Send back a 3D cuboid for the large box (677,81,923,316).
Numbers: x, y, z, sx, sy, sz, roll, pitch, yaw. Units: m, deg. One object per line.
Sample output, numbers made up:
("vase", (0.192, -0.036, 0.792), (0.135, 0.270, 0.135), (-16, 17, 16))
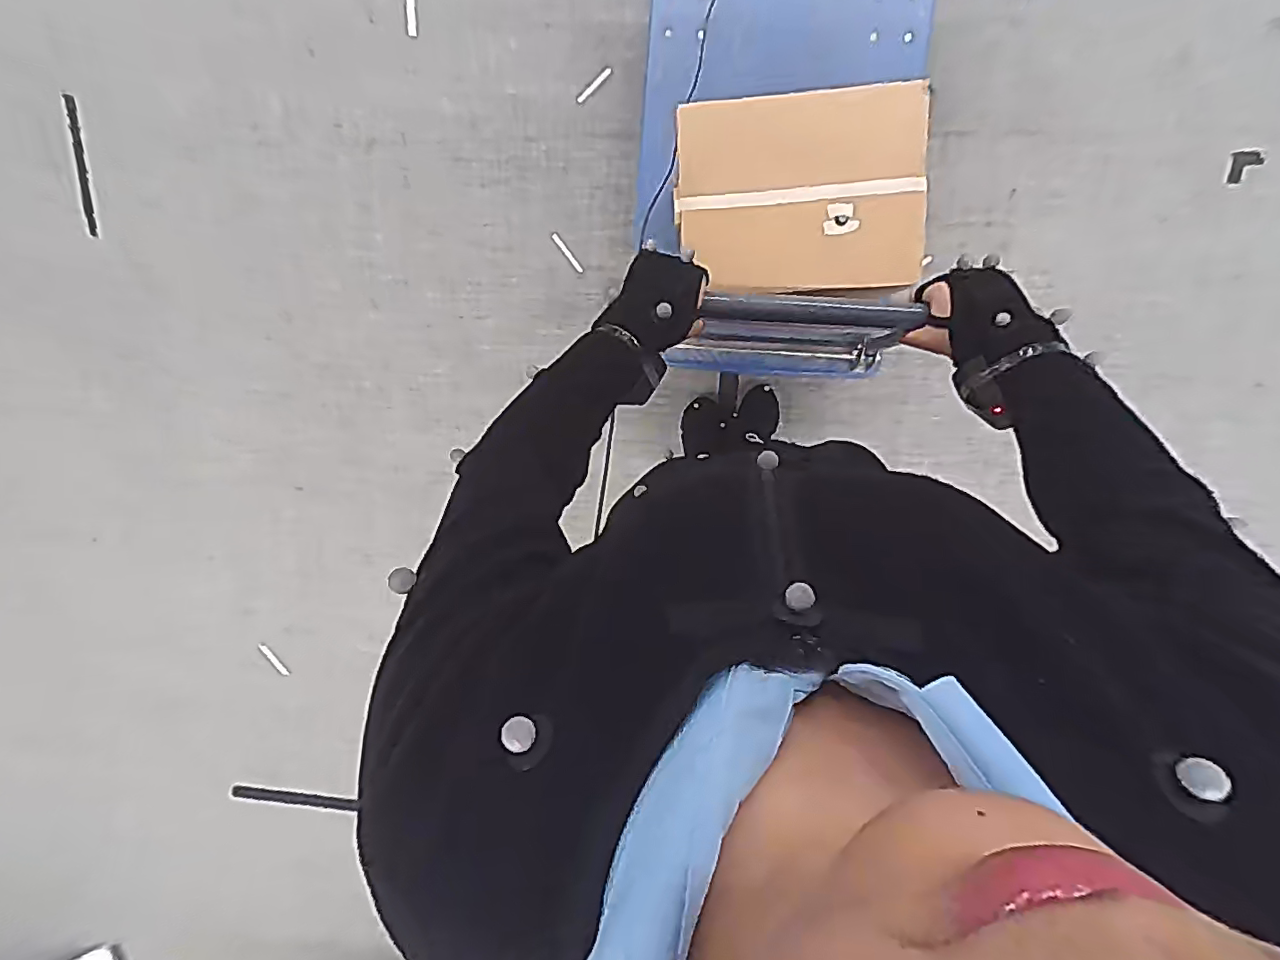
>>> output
("large box", (0.284, -0.515, 1.068), (0.408, 0.320, 0.320), (-2, 101, 6))
